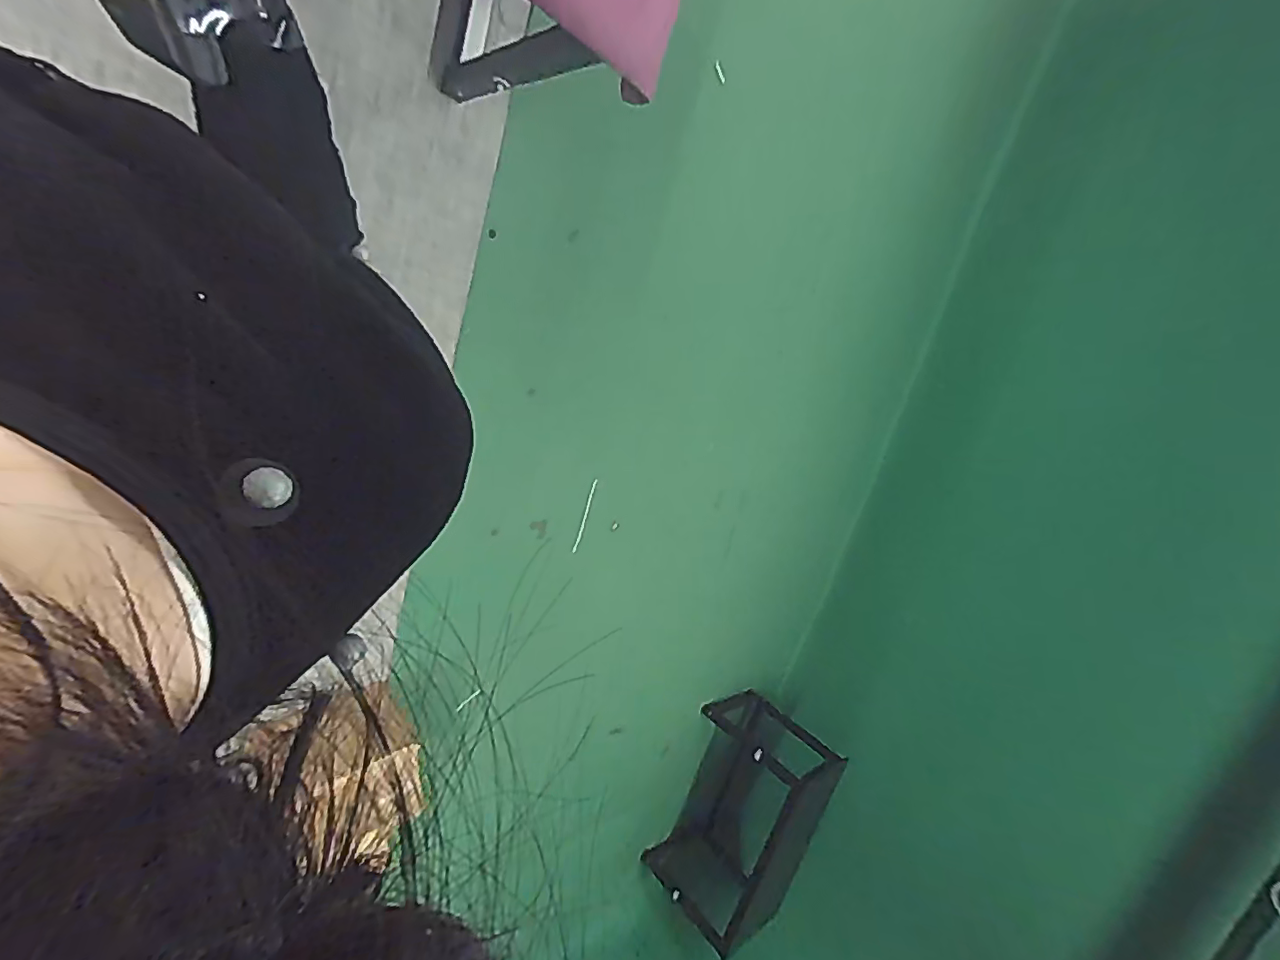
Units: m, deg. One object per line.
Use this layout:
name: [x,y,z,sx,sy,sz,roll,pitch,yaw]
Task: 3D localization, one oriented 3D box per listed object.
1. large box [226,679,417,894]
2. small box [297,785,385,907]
large box: [-0.930,0.873,1.599,0.408,0.320,0.320,-14,121,-42]
small box: [-0.781,0.935,1.407,0.168,0.176,0.179,-6,114,-42]
